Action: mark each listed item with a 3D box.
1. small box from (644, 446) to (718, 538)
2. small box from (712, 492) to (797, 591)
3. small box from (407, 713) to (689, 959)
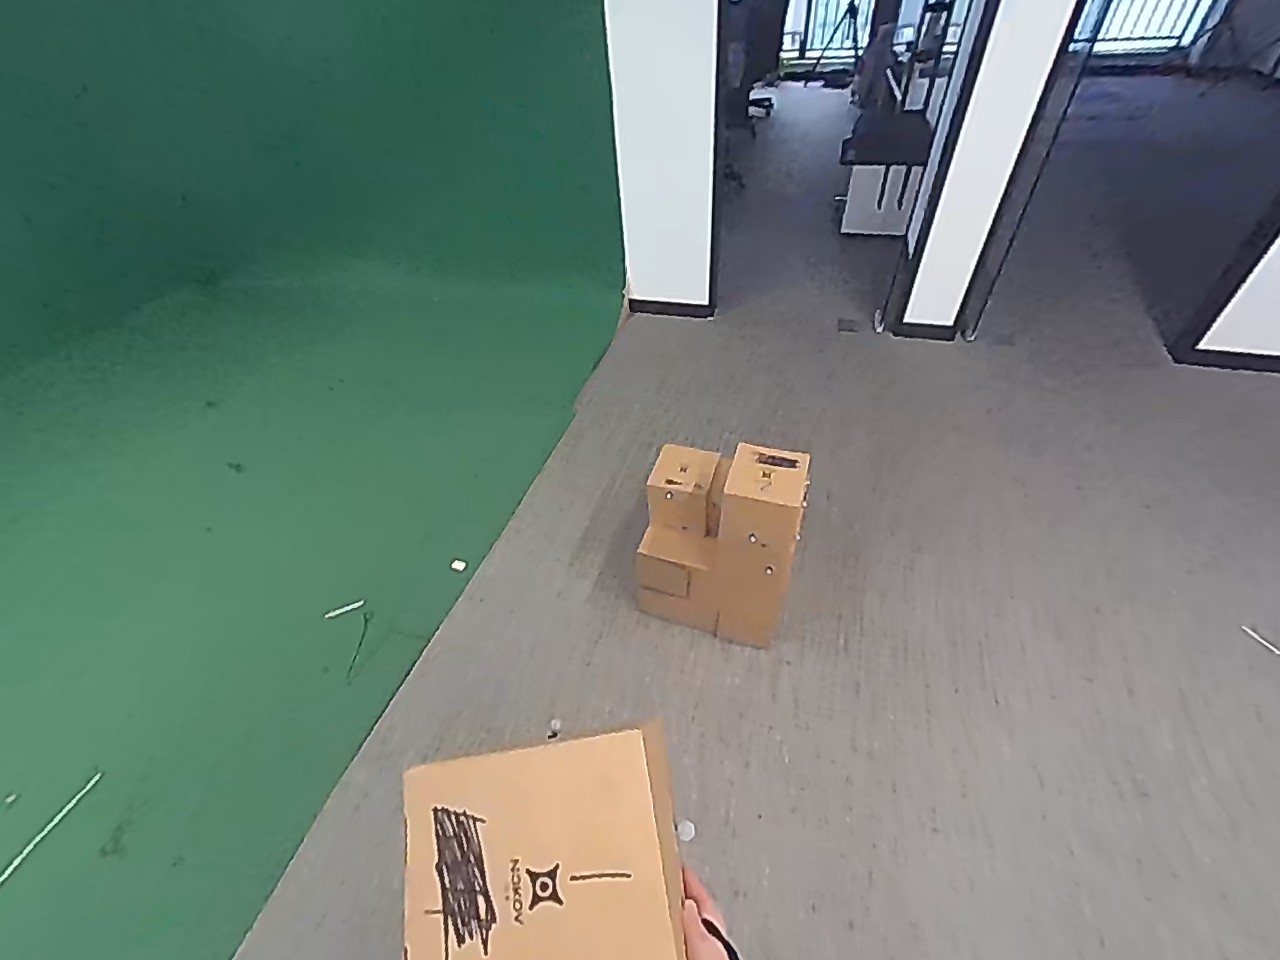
[{"bbox_3d":[0.116,0.033,1.518,0.168,0.176,0.179,11,44,16],"label":"small box"},{"bbox_3d":[0.288,0.159,1.372,0.179,0.176,0.168,11,45,15],"label":"small box"},{"bbox_3d":[-0.061,0.287,0.429,0.179,0.176,0.168,-11,68,1],"label":"small box"}]
